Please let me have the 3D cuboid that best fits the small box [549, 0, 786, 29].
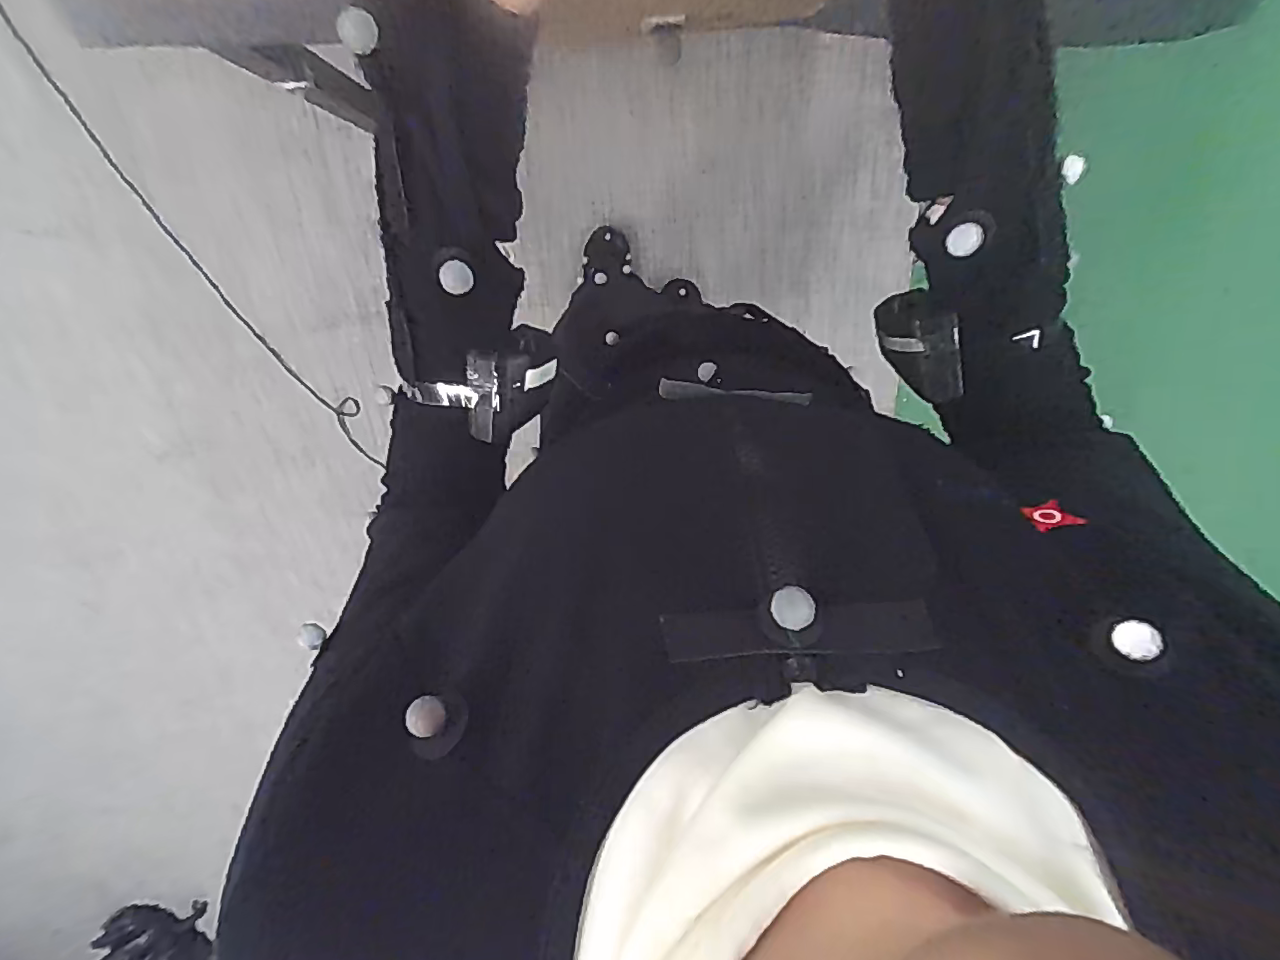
[{"bbox_3d":[0.018,-0.316,0.215,0.168,0.176,0.179,-6,121,2],"label":"small box"}]
